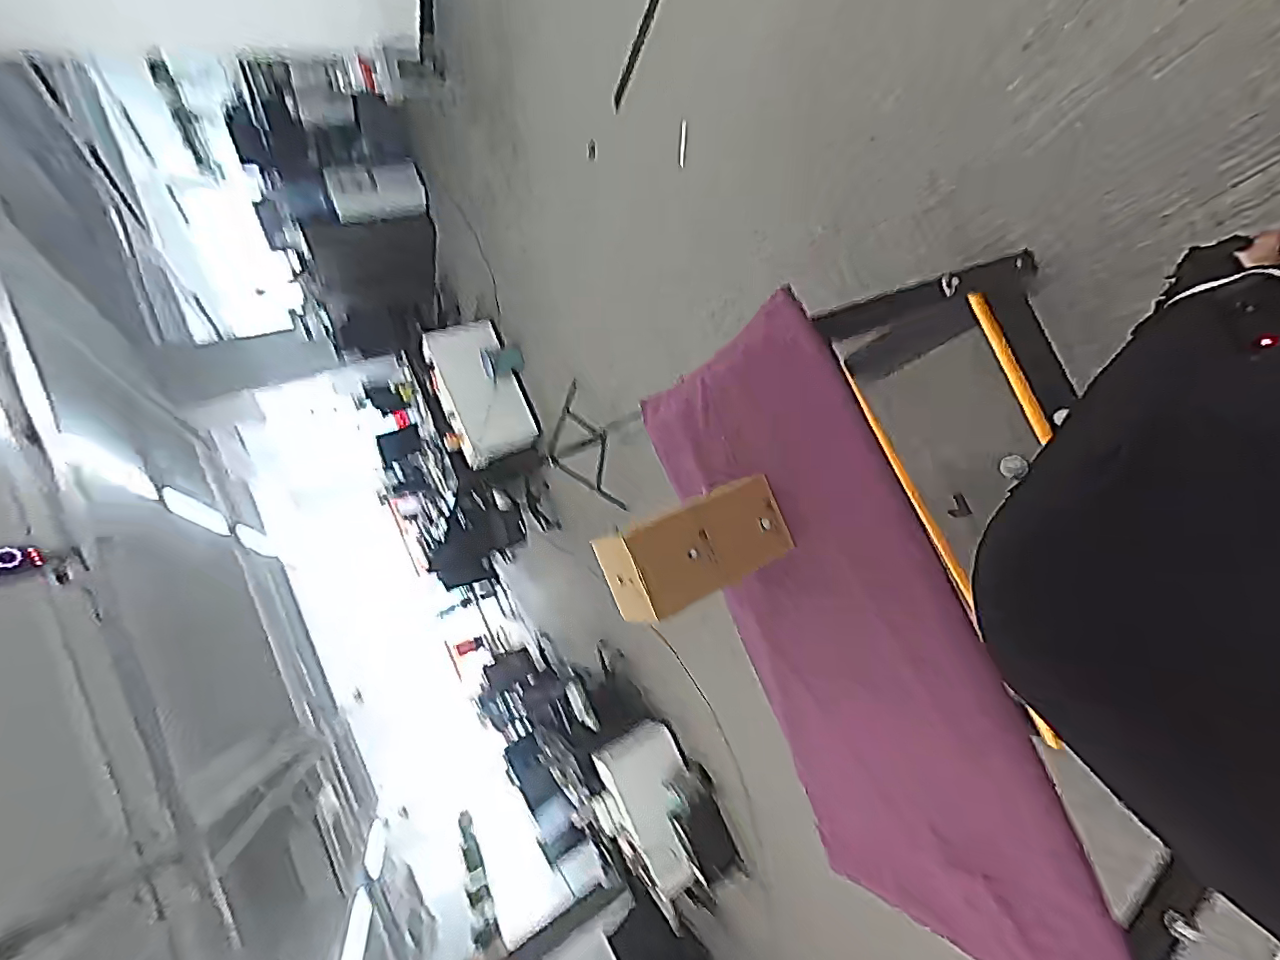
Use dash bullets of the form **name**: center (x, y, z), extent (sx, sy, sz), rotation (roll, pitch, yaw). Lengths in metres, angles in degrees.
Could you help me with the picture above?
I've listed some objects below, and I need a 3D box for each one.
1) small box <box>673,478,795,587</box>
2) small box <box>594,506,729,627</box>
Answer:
- **small box**: center (0.179, 0.109, 1.102), extent (0.179, 0.176, 0.168), rotation (-26, 87, 64)
- **small box**: center (0.040, 0.162, 1.031), extent (0.168, 0.176, 0.179), rotation (66, 154, 1)
